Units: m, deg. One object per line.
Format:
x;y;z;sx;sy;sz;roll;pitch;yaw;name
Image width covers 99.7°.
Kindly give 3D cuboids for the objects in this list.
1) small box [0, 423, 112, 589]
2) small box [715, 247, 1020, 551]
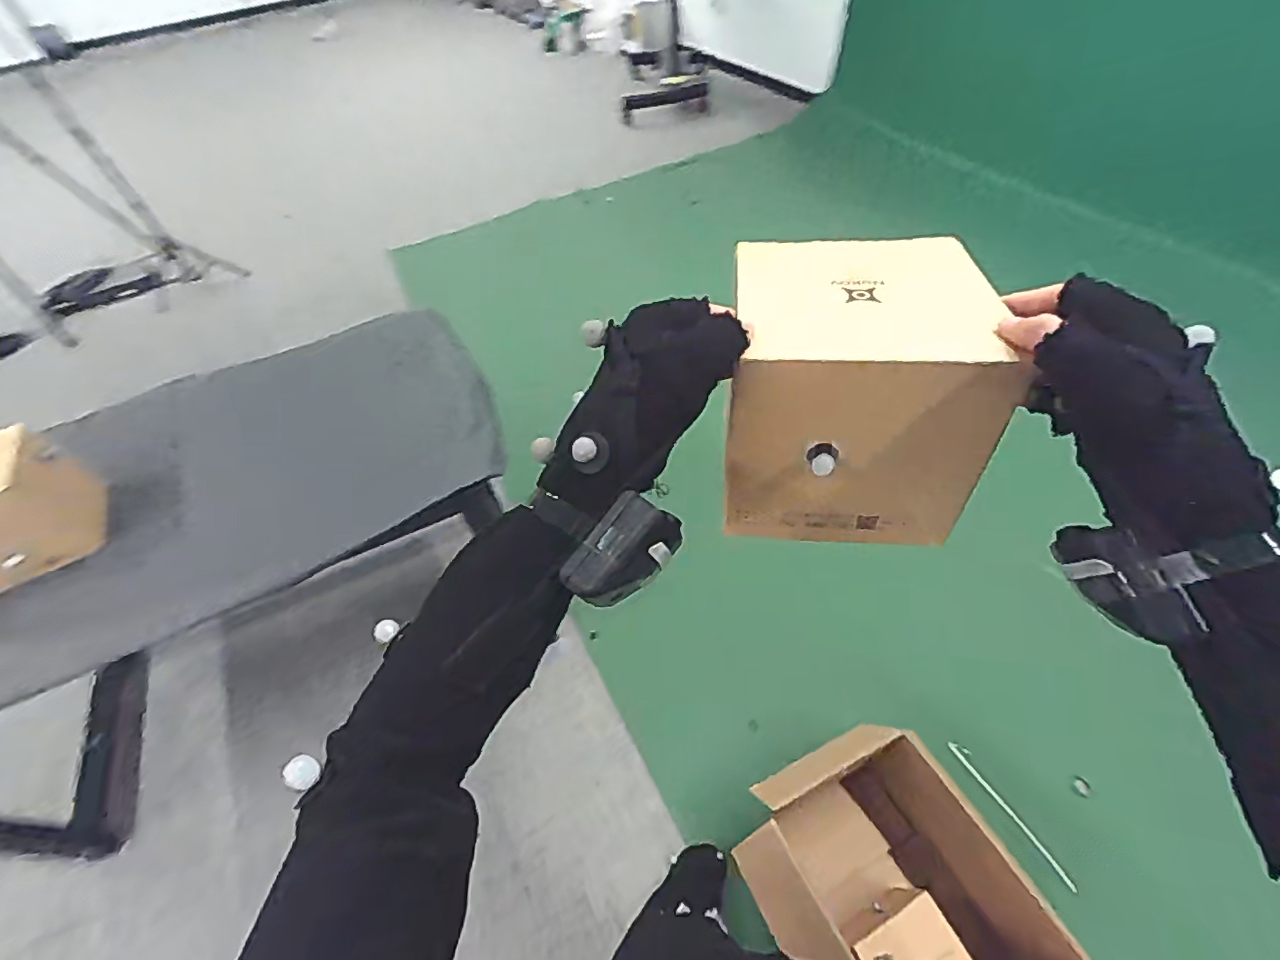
-1.028;0.045;0.888;0.168;0.176;0.179;-27;54;-15;small box
0.145;-0.061;0.419;0.168;0.176;0.179;1;44;7;small box
